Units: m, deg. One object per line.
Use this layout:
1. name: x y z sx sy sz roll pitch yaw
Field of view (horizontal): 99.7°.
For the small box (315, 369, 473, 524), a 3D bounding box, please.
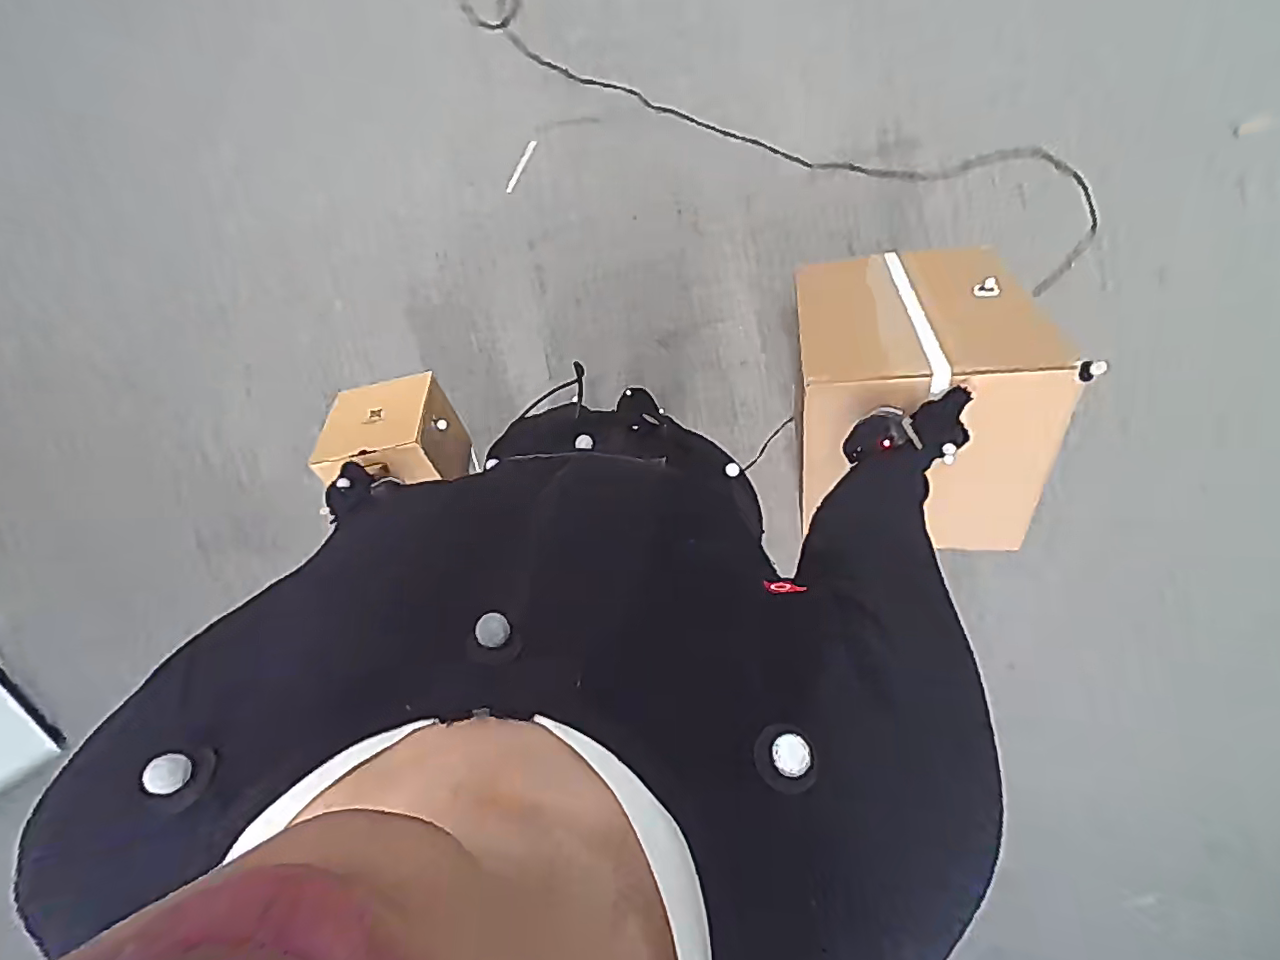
1. small box: -0.392 -0.054 0.901 0.168 0.179 0.176 -11 138 3
